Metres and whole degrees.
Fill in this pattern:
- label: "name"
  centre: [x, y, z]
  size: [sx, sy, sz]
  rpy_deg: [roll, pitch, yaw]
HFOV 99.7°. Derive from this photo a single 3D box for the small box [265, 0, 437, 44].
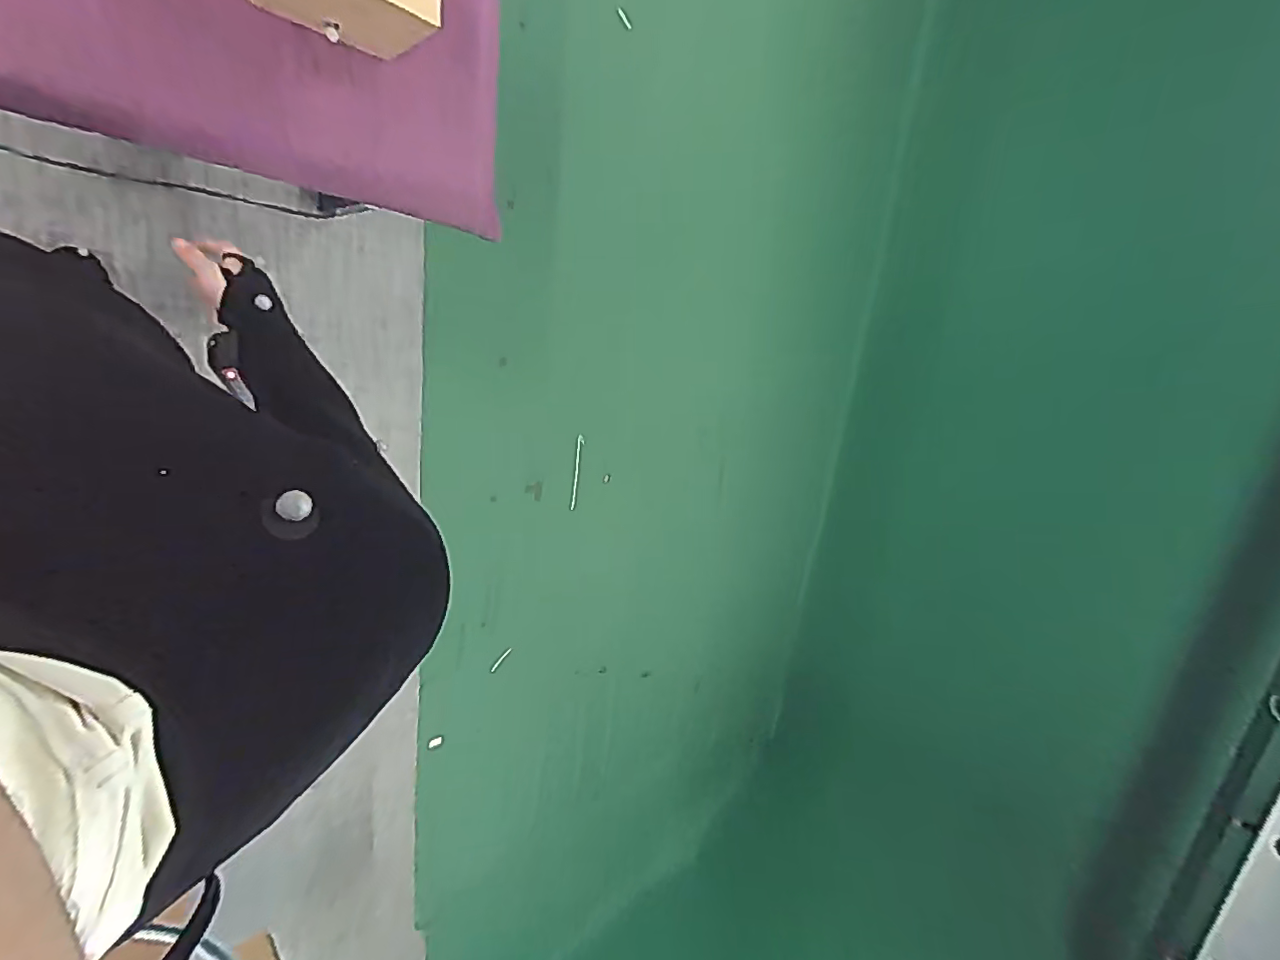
- label: "small box"
  centre: [-0.361, -0.659, 0.641]
  size: [0.179, 0.176, 0.168]
  rpy_deg: [-10, 112, -45]
